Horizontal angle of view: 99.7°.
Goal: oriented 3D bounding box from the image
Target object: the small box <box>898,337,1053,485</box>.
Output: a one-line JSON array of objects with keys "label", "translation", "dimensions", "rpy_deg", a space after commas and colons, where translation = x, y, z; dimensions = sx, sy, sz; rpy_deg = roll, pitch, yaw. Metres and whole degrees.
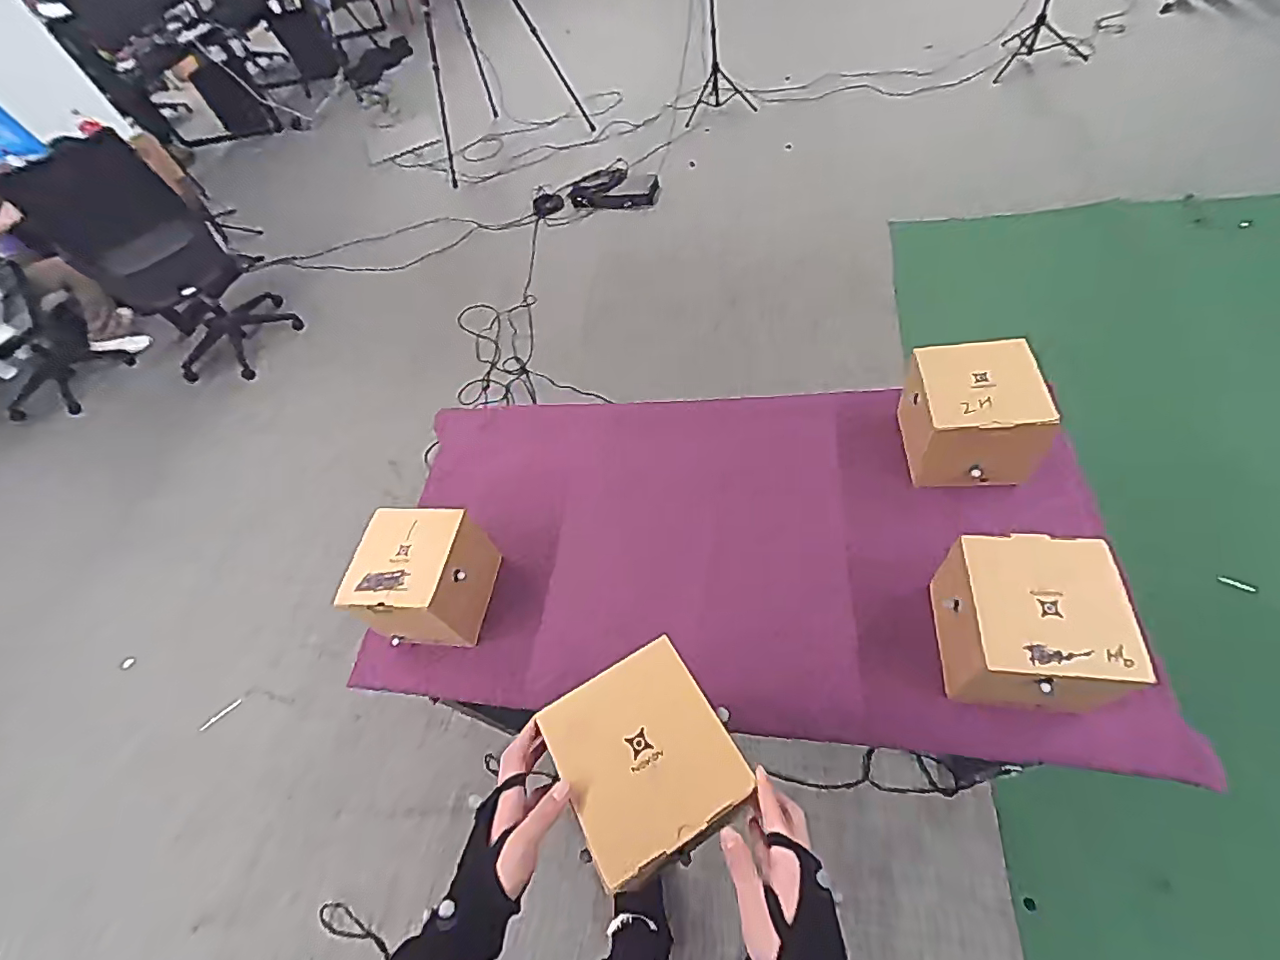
[{"label": "small box", "translation": [0.536, -0.109, 0.896], "dimensions": [0.168, 0.176, 0.179], "rpy_deg": [-3, 57, 15]}]

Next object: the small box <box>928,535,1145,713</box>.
[{"label": "small box", "translation": [0.491, 0.189, 0.708], "dimensions": [0.168, 0.176, 0.179], "rpy_deg": [0, 57, 15]}]

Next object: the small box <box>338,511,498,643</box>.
[{"label": "small box", "translation": [-0.365, 0.170, 0.930], "dimensions": [0.168, 0.176, 0.179], "rpy_deg": [0, 55, 13]}]
